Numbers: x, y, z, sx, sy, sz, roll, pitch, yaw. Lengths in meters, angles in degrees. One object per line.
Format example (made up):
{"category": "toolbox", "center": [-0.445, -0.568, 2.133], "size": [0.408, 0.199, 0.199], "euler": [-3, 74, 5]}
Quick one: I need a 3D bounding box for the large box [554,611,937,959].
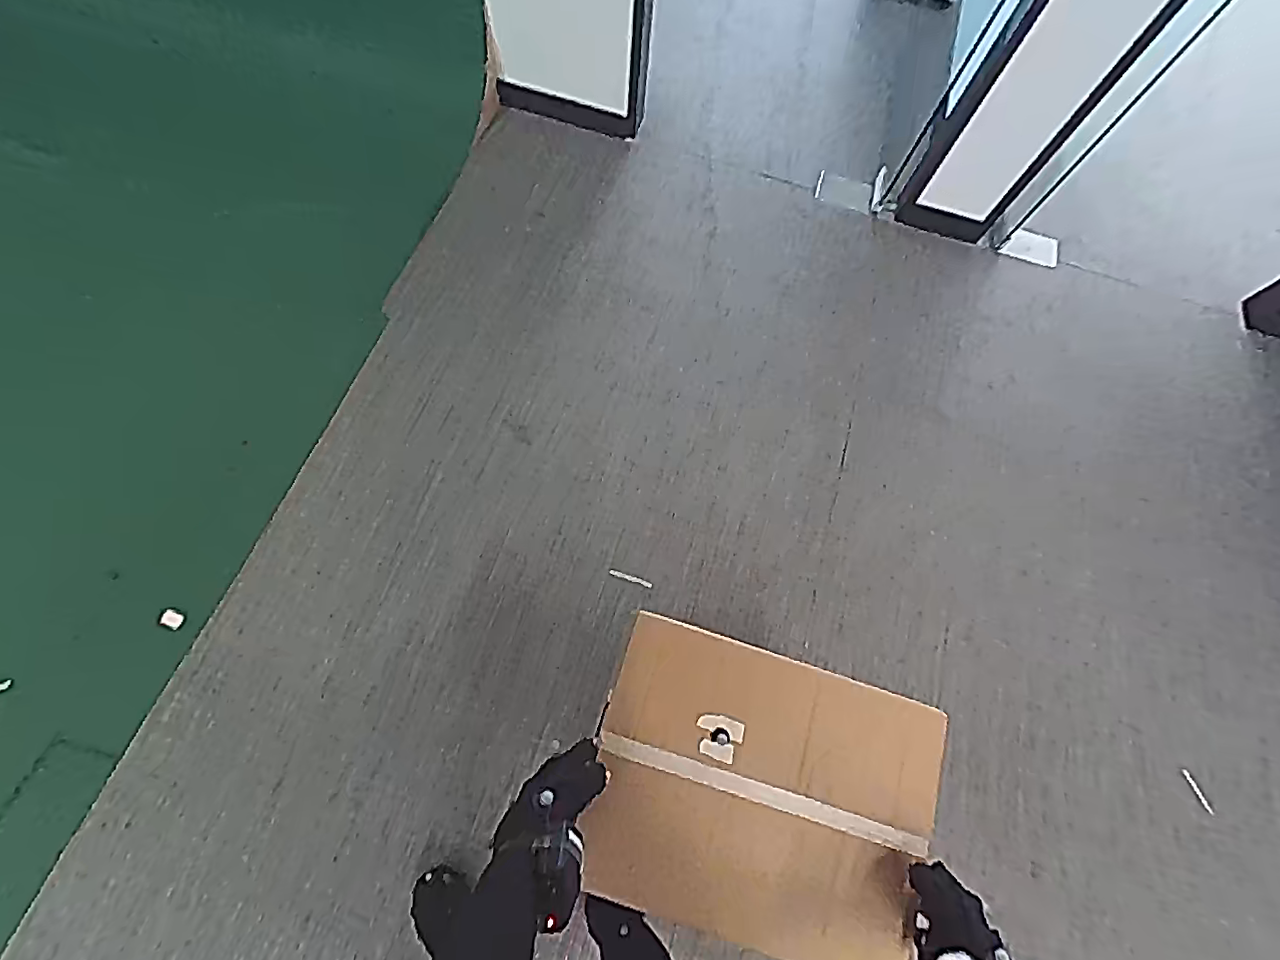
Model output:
{"category": "large box", "center": [0.133, 0.398, 0.785], "size": [0.408, 0.320, 0.320], "euler": [17, 76, 3]}
